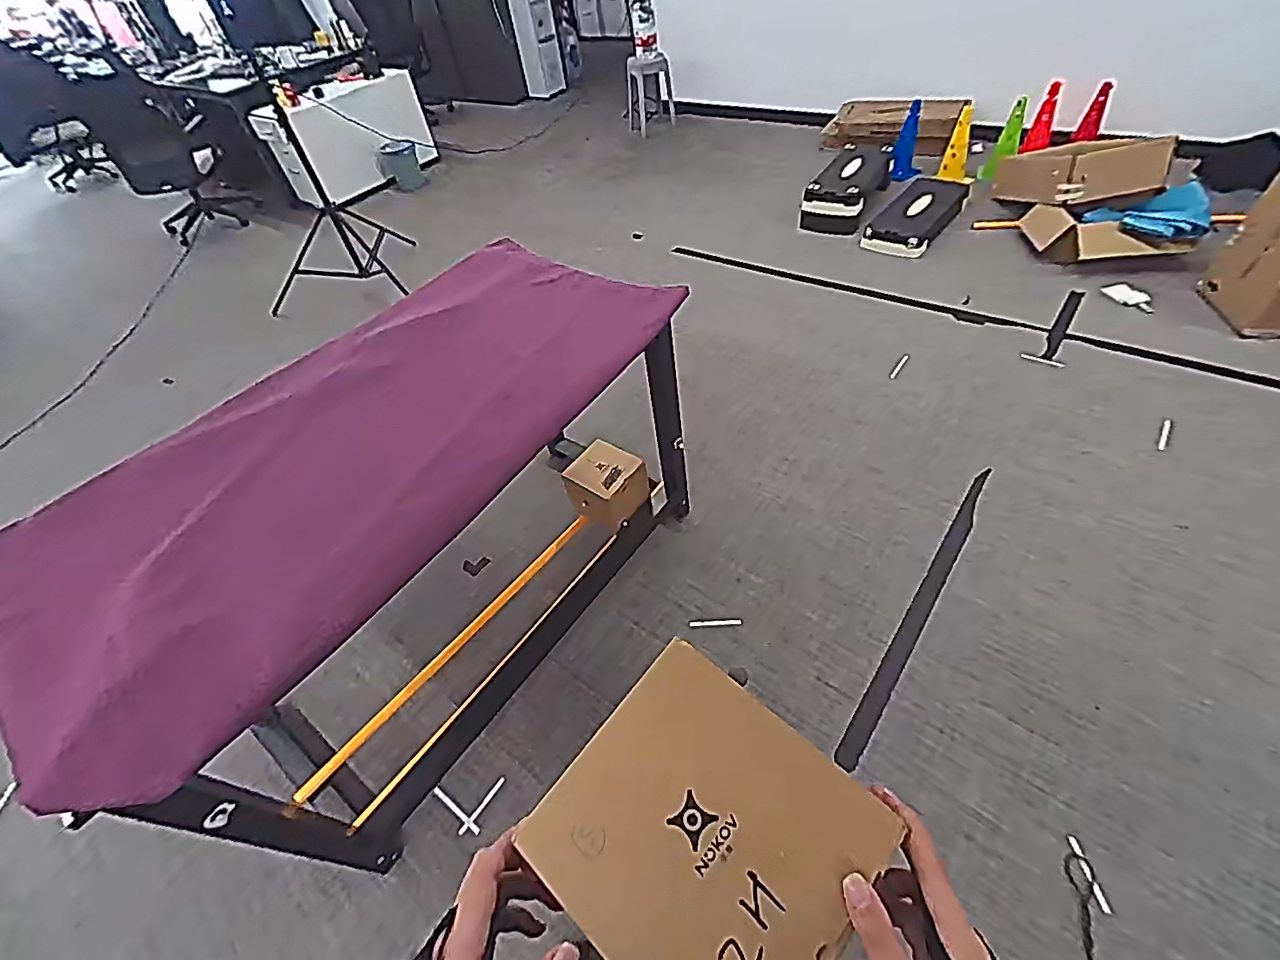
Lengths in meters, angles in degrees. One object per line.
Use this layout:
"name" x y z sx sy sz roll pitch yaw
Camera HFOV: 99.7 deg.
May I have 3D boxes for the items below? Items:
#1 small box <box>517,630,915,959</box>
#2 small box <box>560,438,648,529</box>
"small box" 0.051 0.243 0.382 0.179 0.176 0.168 34 71 26
"small box" -0.096 0.017 1.545 0.179 0.176 0.168 27 59 29
